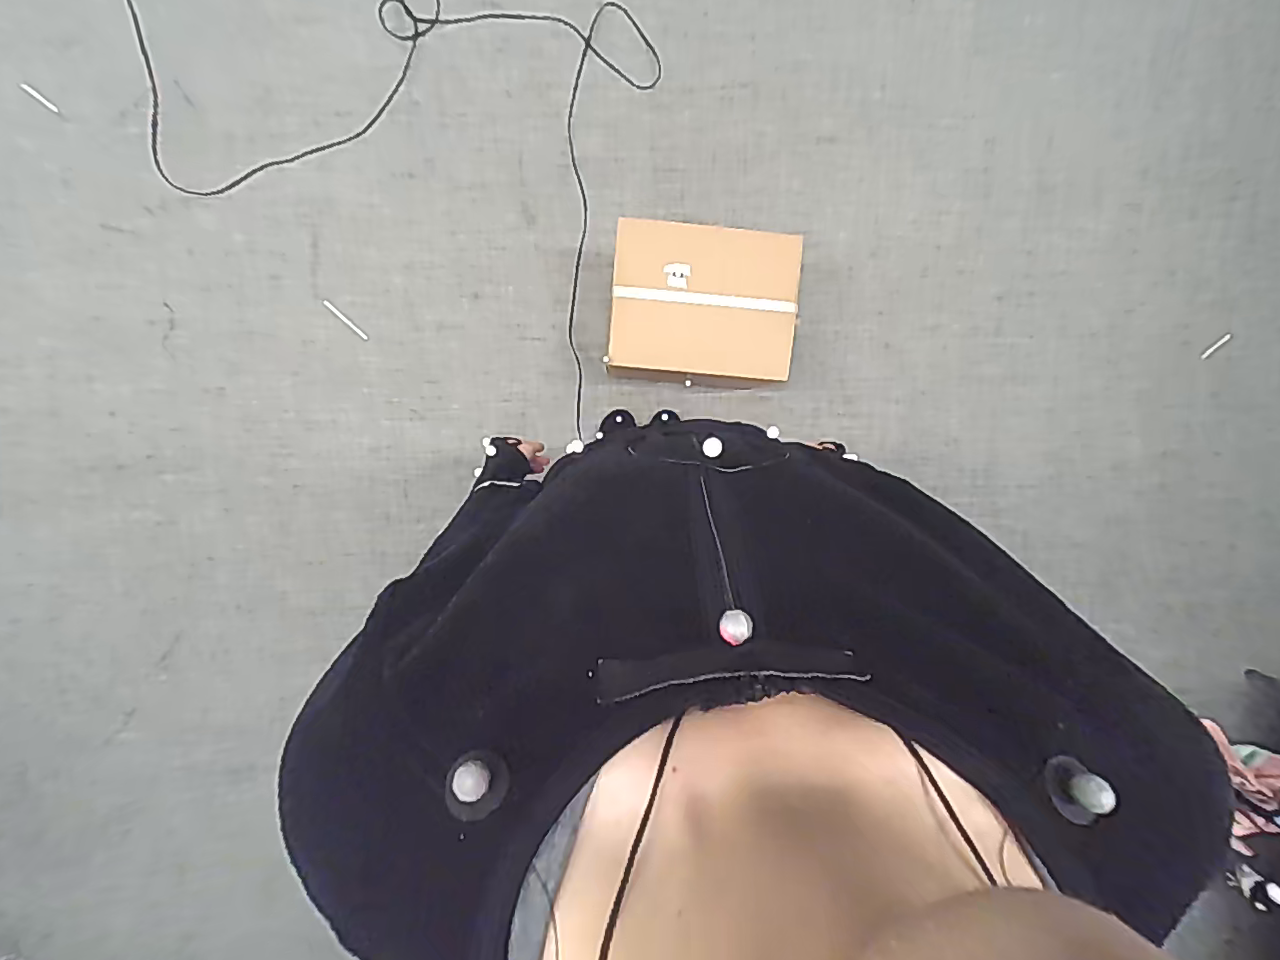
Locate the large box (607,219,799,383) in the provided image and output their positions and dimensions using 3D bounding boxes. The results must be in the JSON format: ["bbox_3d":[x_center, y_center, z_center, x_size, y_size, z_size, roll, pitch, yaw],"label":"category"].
[{"bbox_3d":[0.134,-0.411,1.325,0.408,0.320,0.320,5,96,-2],"label":"large box"}]
